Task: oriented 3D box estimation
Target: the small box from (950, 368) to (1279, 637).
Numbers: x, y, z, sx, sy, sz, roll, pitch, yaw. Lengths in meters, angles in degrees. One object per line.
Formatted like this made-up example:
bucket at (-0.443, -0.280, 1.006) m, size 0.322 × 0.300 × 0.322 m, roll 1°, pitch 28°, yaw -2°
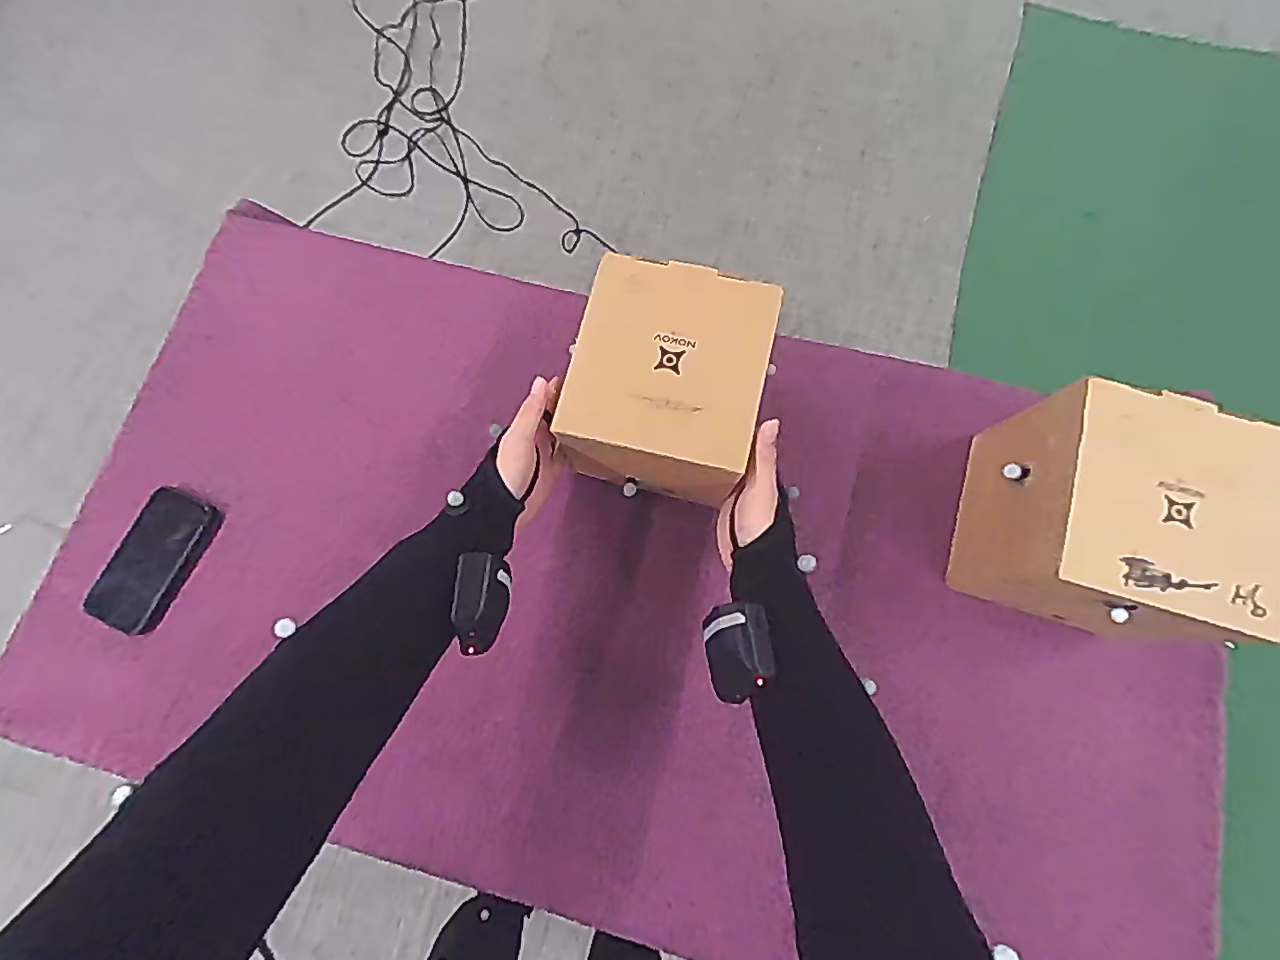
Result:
small box at (0.414, 0.030, 0.491) m, size 0.168 × 0.176 × 0.179 m, roll 17°, pitch 77°, yaw 6°

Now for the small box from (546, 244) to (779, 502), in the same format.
small box at (0.023, -0.091, 0.531) m, size 0.168 × 0.176 × 0.179 m, roll 13°, pitch 78°, yaw 5°
